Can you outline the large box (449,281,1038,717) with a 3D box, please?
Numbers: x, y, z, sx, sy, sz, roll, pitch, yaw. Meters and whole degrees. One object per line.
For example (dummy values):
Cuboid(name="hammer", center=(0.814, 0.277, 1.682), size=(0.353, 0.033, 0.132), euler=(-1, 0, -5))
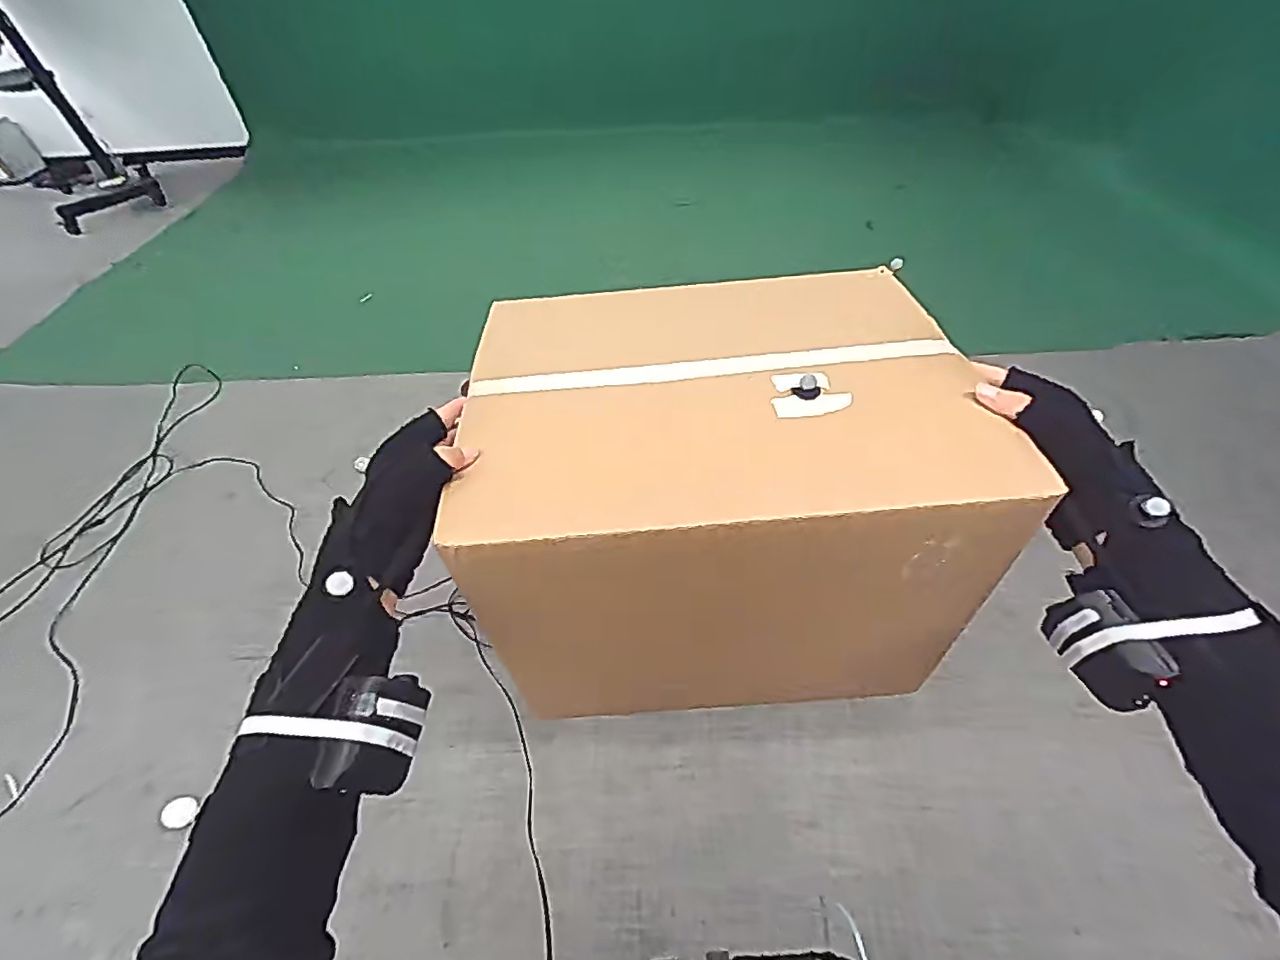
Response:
Cuboid(name="large box", center=(0.067, 0.022, 0.565), size=(0.408, 0.320, 0.320), euler=(-5, 47, 0))
